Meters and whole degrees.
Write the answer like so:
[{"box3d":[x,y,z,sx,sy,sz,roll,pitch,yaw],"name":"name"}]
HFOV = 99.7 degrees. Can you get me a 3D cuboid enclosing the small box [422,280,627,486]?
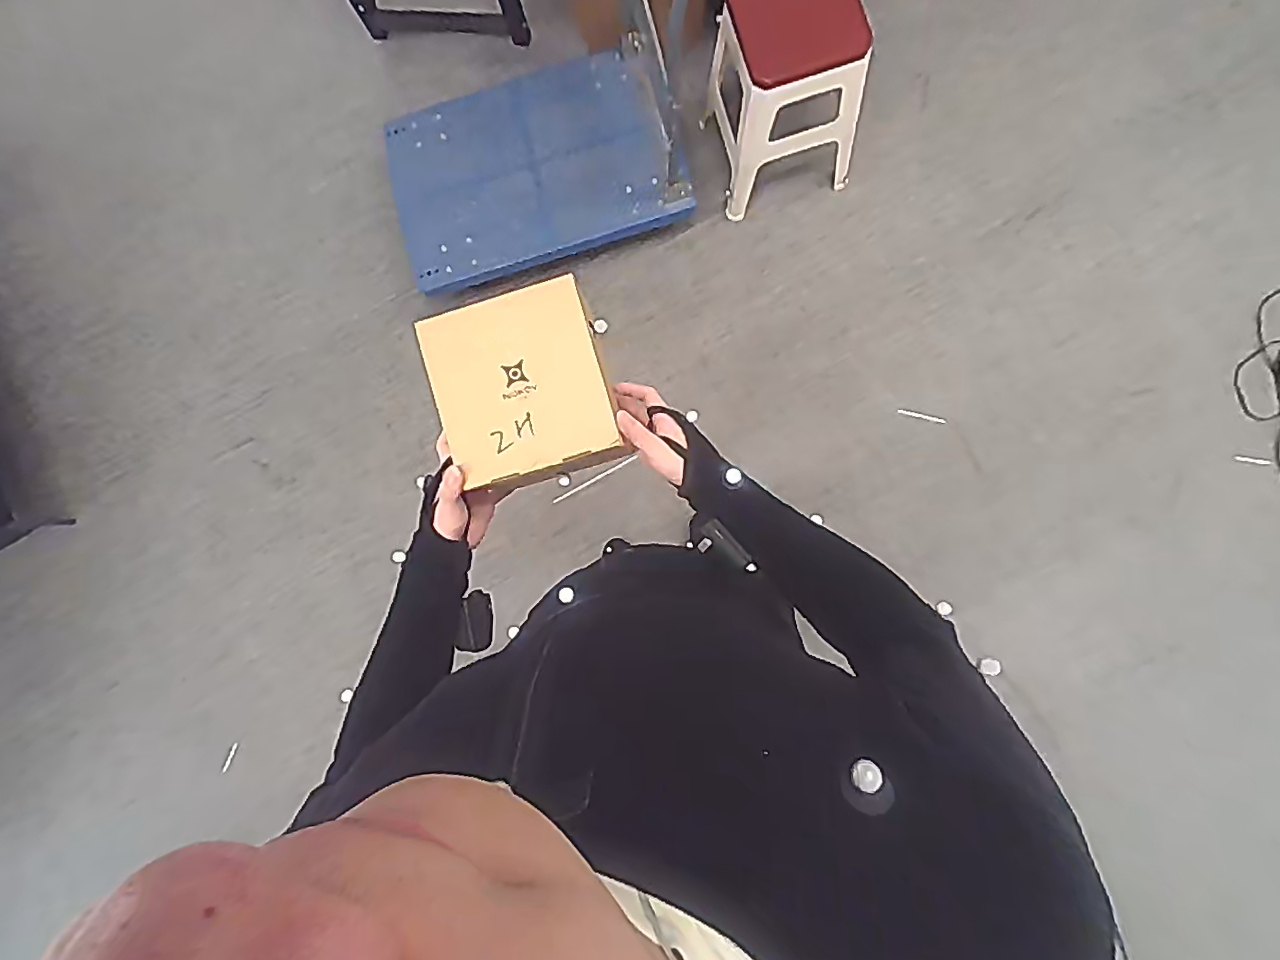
[{"box3d":[-0.117,-0.095,0.616,0.168,0.176,0.179,-16,89,3],"name":"small box"}]
